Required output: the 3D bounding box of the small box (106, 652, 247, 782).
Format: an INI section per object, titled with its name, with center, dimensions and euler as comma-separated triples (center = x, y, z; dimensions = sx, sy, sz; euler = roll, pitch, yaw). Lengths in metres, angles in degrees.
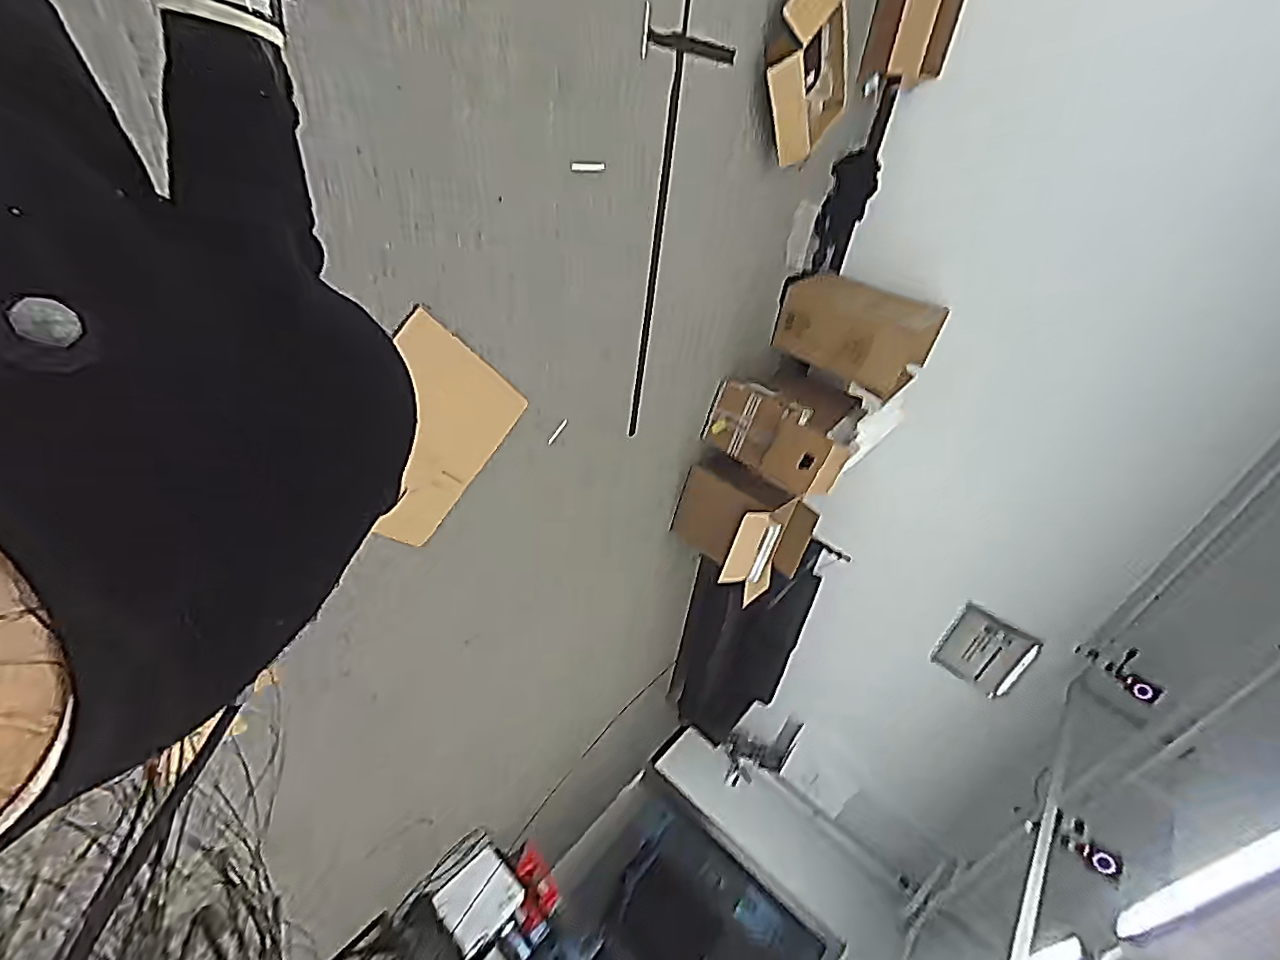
[small box]
center = -1.022, 0.512, 1.196
dimensions = 0.168, 0.176, 0.179
euler = -32, 142, -38
